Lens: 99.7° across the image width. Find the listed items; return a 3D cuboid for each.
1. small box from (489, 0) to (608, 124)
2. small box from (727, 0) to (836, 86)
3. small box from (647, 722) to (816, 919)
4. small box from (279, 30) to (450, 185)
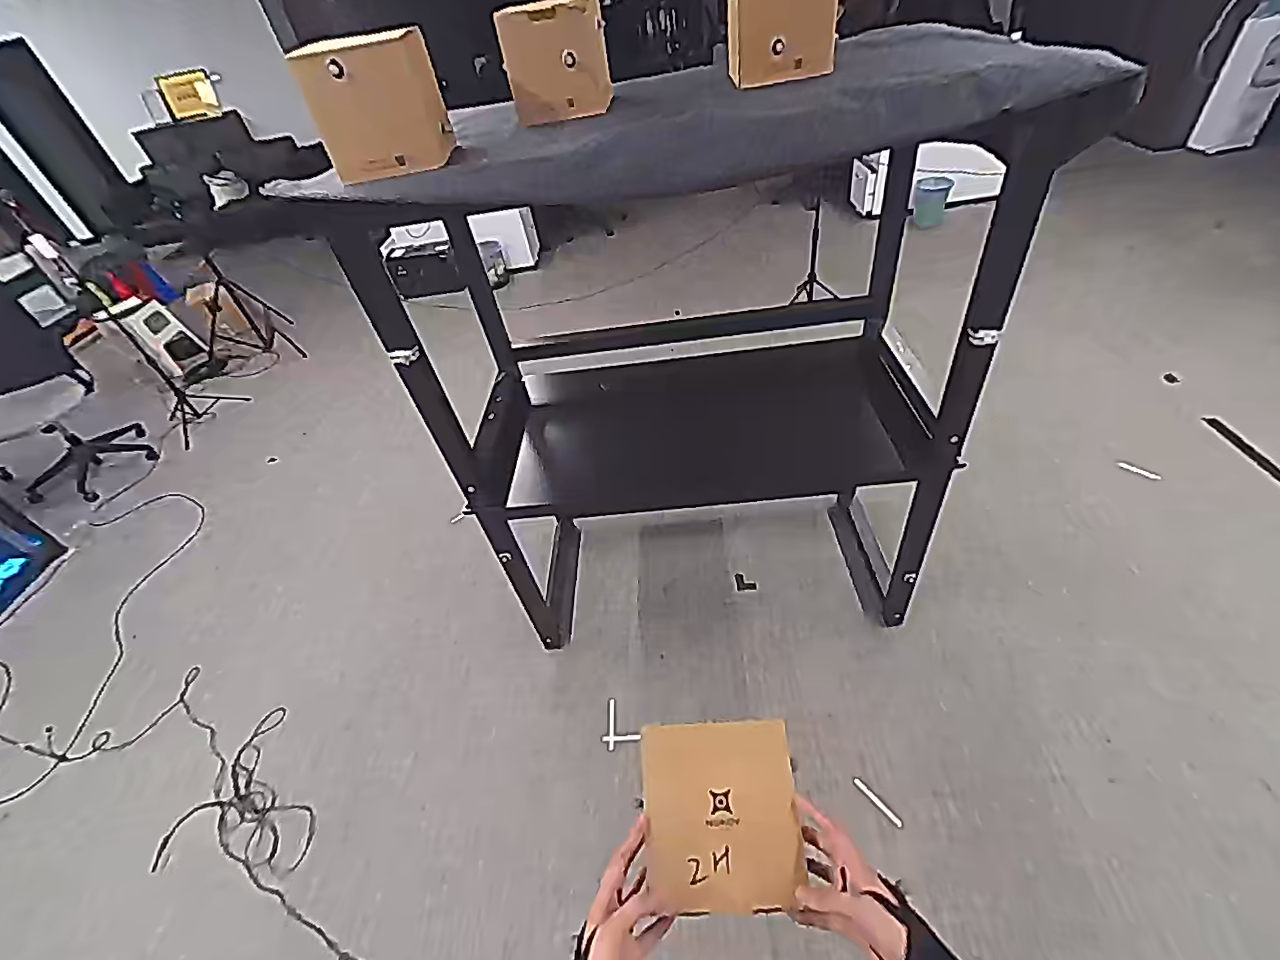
[{"bbox_3d":[-0.157,-0.781,1.004,0.168,0.176,0.179,-3,45,7],"label":"small box"},{"bbox_3d":[0.246,-0.828,0.968,0.168,0.176,0.179,-6,44,6],"label":"small box"},{"bbox_3d":[0.092,0.395,0.643,0.168,0.176,0.179,-3,60,1],"label":"small box"},{"bbox_3d":[-0.415,-0.587,0.854,0.168,0.176,0.179,-11,44,0],"label":"small box"}]
